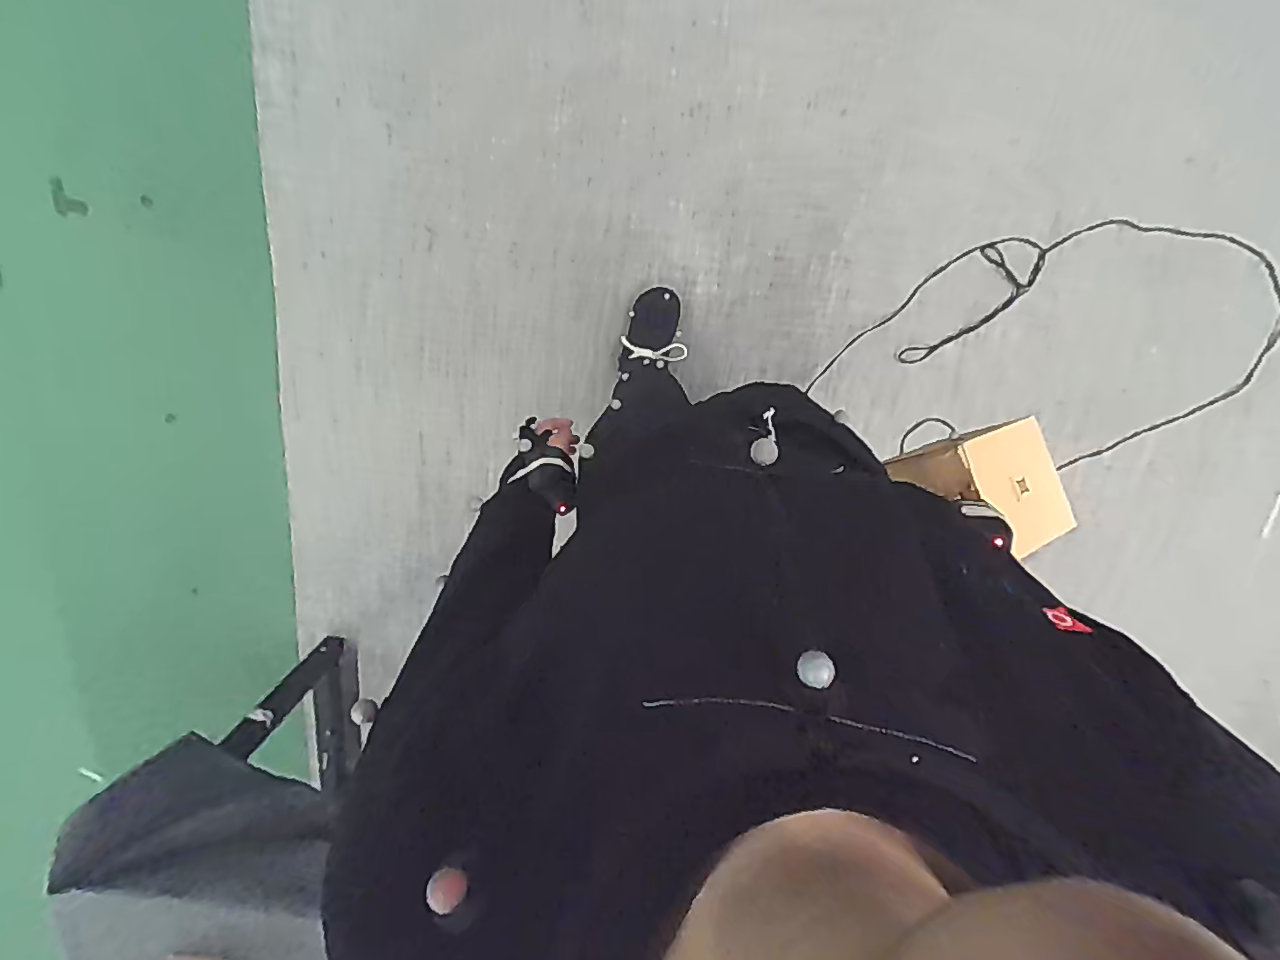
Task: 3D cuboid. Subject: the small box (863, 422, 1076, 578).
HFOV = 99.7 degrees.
[{"bbox_3d":[0.457,0.033,0.766,0.179,0.176,0.168,-18,86,-27],"label":"small box"}]
